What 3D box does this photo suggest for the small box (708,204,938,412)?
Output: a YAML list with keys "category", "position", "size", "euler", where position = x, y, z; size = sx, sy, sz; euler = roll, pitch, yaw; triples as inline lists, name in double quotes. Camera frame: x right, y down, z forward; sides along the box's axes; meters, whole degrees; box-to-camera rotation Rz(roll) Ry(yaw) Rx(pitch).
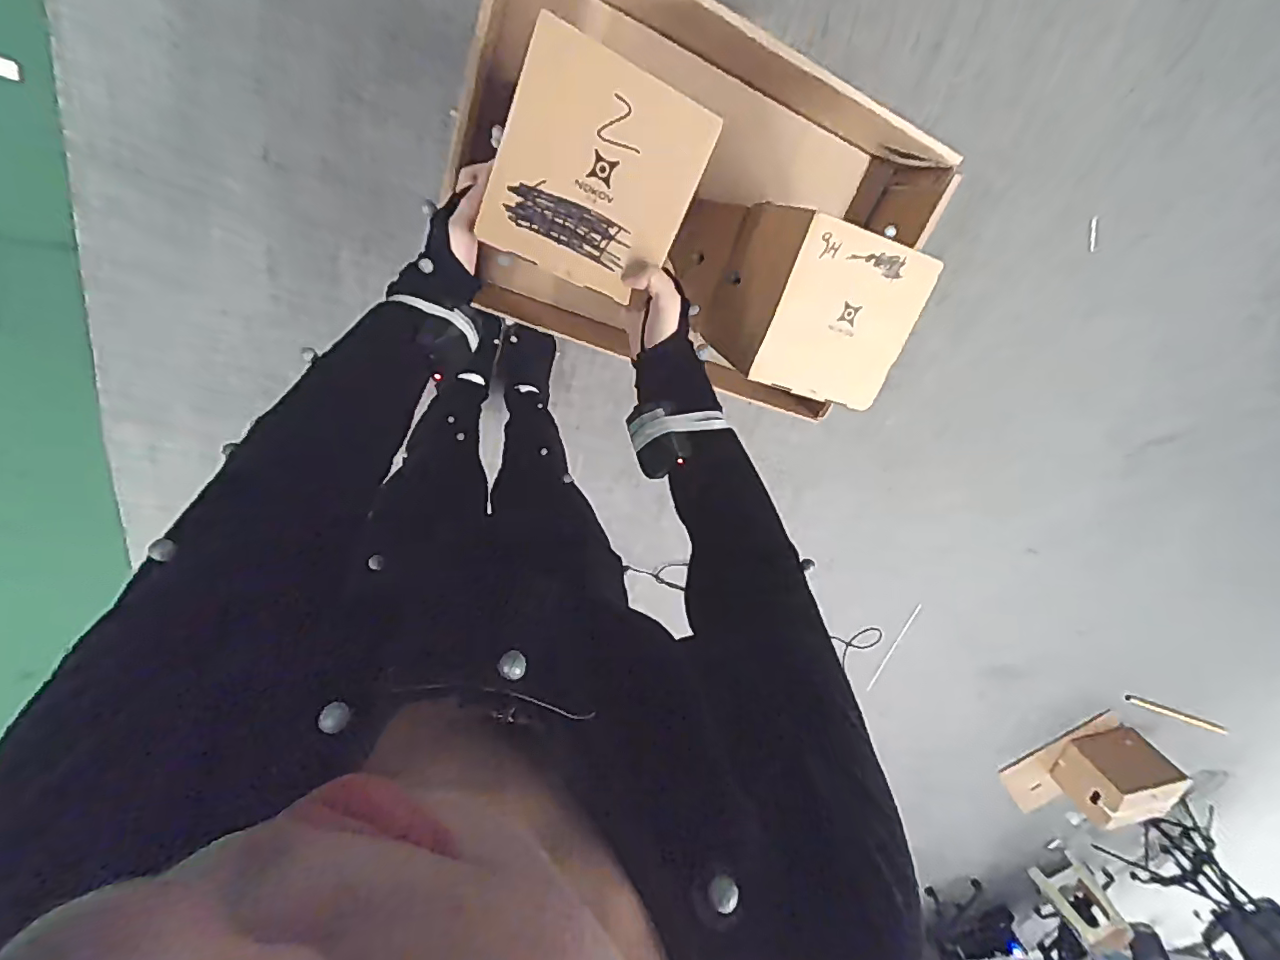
- category: "small box"
  position: [0.199, -0.209, 0.649]
  size: [0.168, 0.176, 0.179]
  euler: [12, 117, -20]
